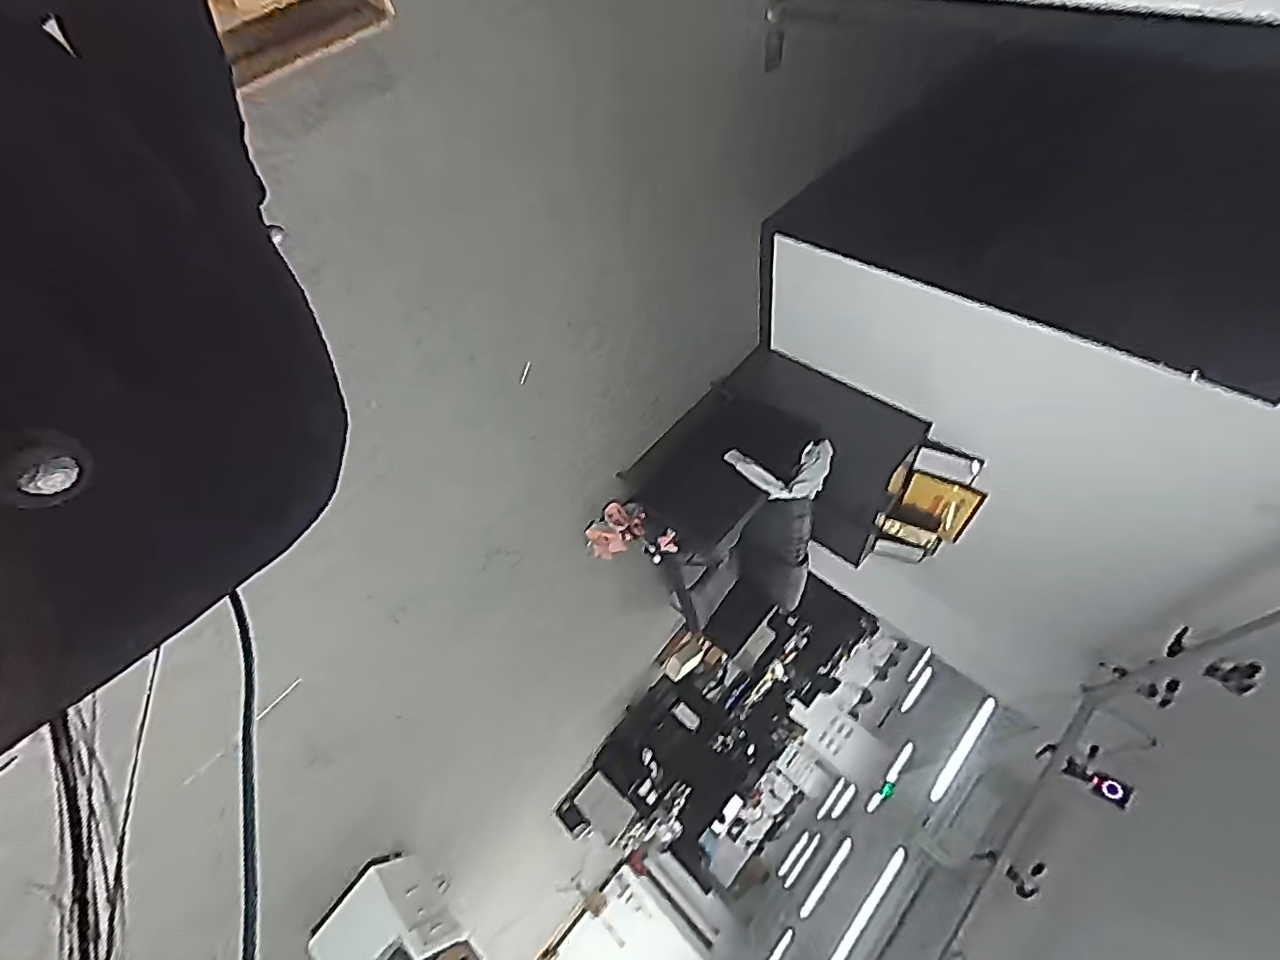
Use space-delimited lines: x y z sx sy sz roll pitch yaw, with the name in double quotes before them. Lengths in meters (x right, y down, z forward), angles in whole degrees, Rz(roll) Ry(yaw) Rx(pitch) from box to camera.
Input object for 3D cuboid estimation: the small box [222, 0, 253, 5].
"small box" -0.667 -0.920 0.888 0.179 0.176 0.168 -43 148 -19
